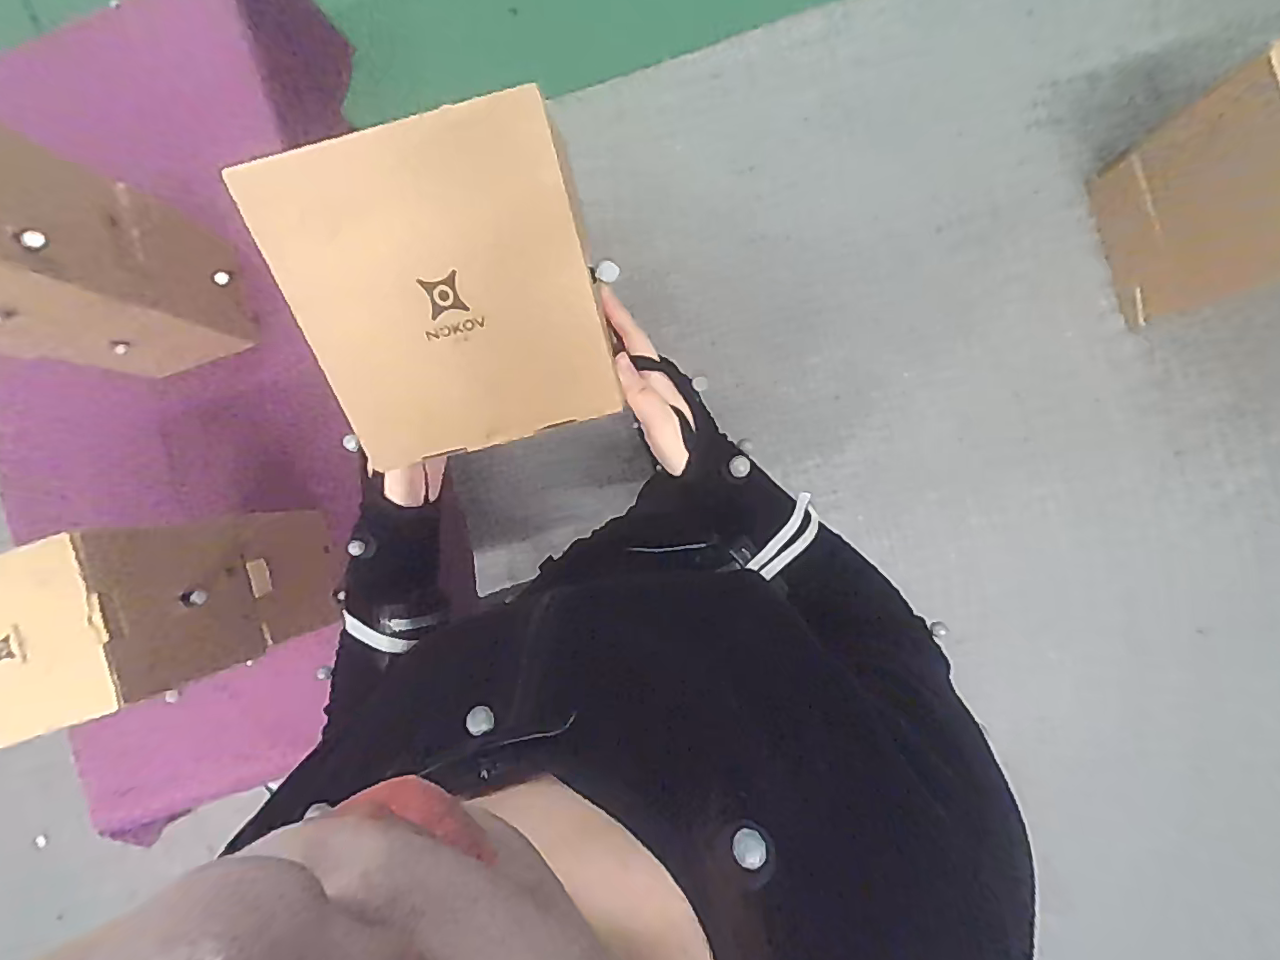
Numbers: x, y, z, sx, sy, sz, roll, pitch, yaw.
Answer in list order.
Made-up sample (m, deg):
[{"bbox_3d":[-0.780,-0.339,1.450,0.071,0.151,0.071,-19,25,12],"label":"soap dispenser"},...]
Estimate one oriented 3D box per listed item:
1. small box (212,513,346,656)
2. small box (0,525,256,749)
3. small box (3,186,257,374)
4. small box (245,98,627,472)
[{"bbox_3d":[-0.531,0.148,0.727,0.179,0.176,0.168,-20,88,5],"label":"small box"},{"bbox_3d":[-0.545,0.150,0.564,0.179,0.176,0.168,-18,87,4],"label":"small box"},{"bbox_3d":[-0.684,-0.258,0.744,0.179,0.176,0.168,-17,89,4],"label":"small box"},{"bbox_3d":[-0.111,-0.132,0.378,0.168,0.176,0.179,-13,117,2],"label":"small box"}]
